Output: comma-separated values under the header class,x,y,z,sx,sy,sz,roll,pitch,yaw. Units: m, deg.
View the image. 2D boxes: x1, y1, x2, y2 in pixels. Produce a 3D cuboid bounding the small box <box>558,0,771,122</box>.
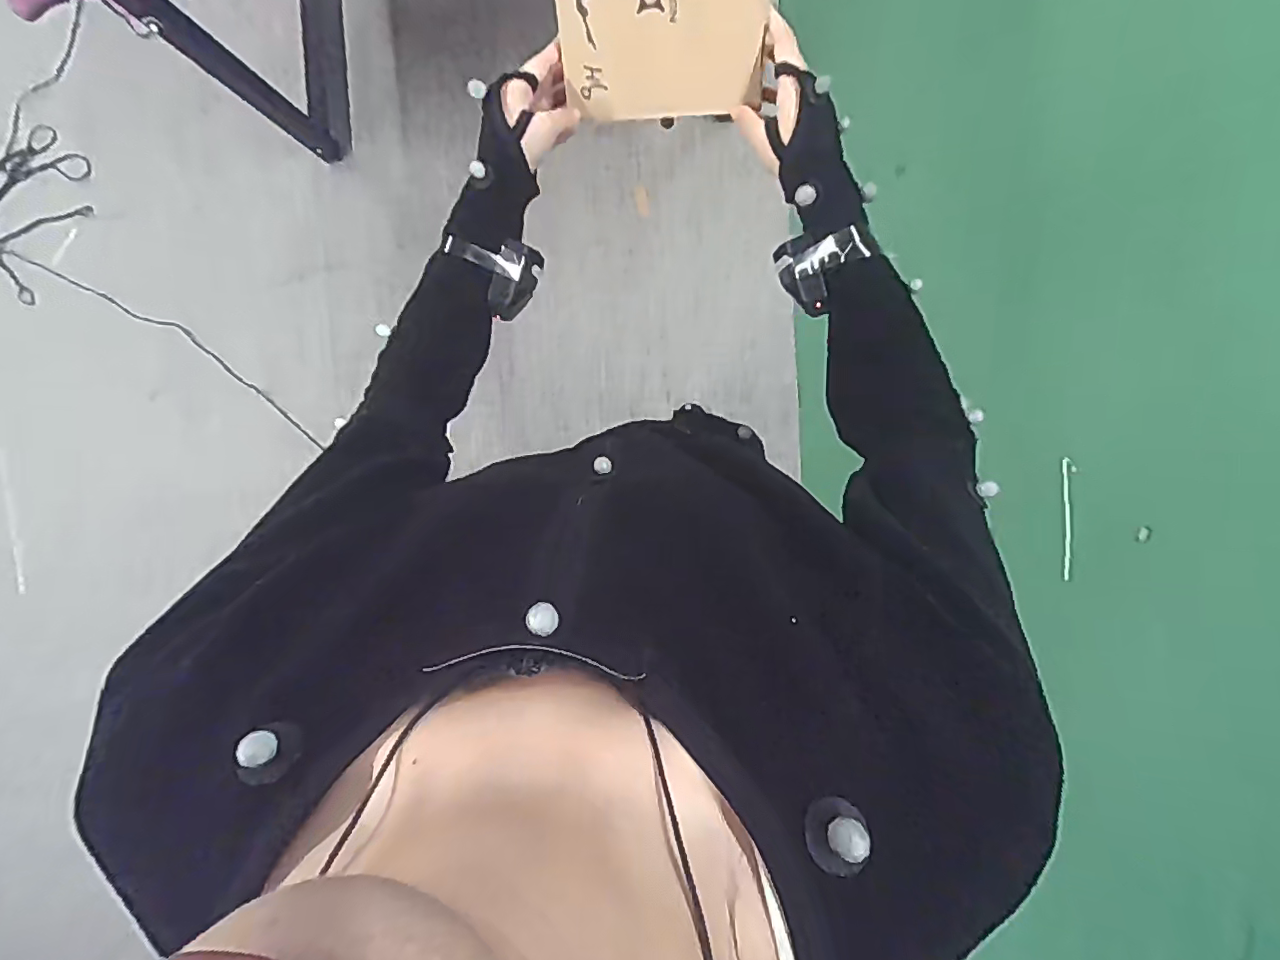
class,x,y,z,sx,sy,sz,roll,pitch,yaw
small box,0.023,-0.439,0.500,0.179,0.176,0.168,0,127,4
